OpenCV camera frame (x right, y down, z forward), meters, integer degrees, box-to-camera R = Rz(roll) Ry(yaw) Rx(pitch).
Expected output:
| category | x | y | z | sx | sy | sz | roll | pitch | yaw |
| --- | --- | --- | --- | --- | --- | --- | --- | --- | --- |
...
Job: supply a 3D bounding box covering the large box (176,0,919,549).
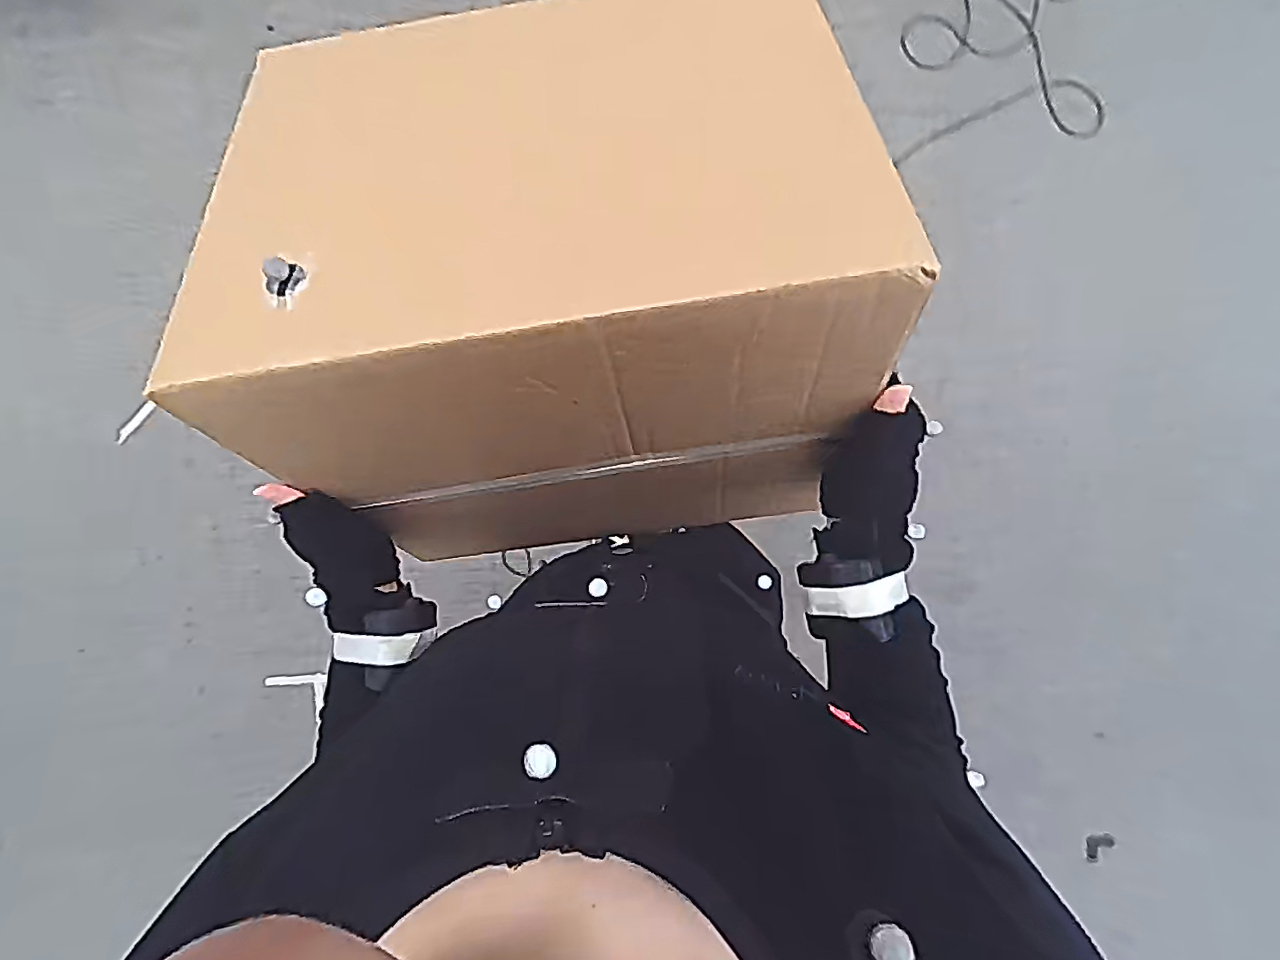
| category | x | y | z | sx | sy | sz | roll | pitch | yaw |
| --- | --- | --- | --- | --- | --- | --- | --- | --- | --- |
| large box | -0.057 | -0.155 | 0.474 | 0.408 | 0.320 | 0.320 | -8 | 66 | 3 |
